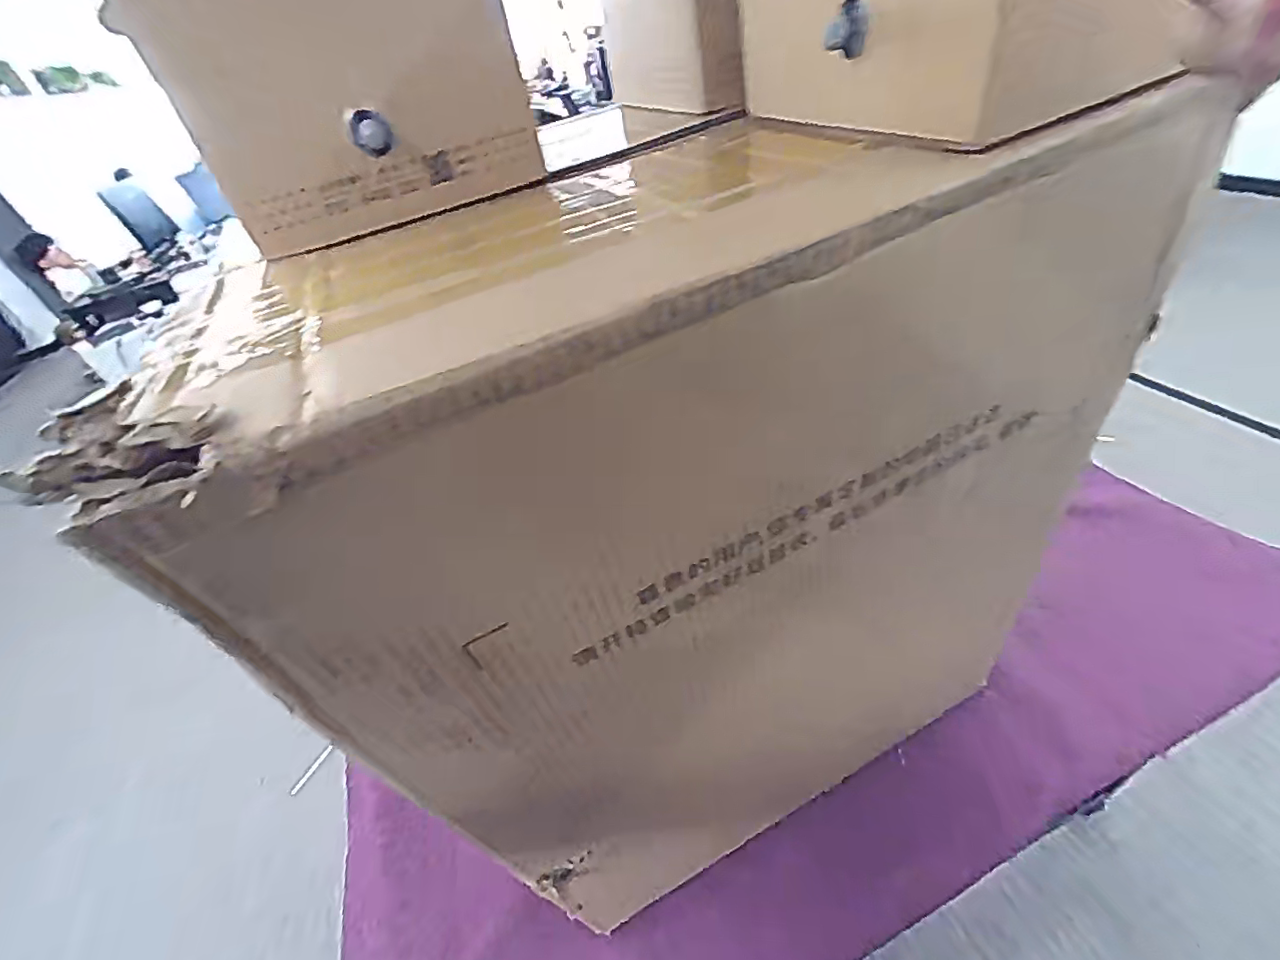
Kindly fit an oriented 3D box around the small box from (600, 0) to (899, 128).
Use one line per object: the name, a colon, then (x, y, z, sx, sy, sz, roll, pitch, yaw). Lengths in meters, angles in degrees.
small box: (0.068, -0.377, 0.396, 0.168, 0.176, 0.179, -24, 42, -9)
